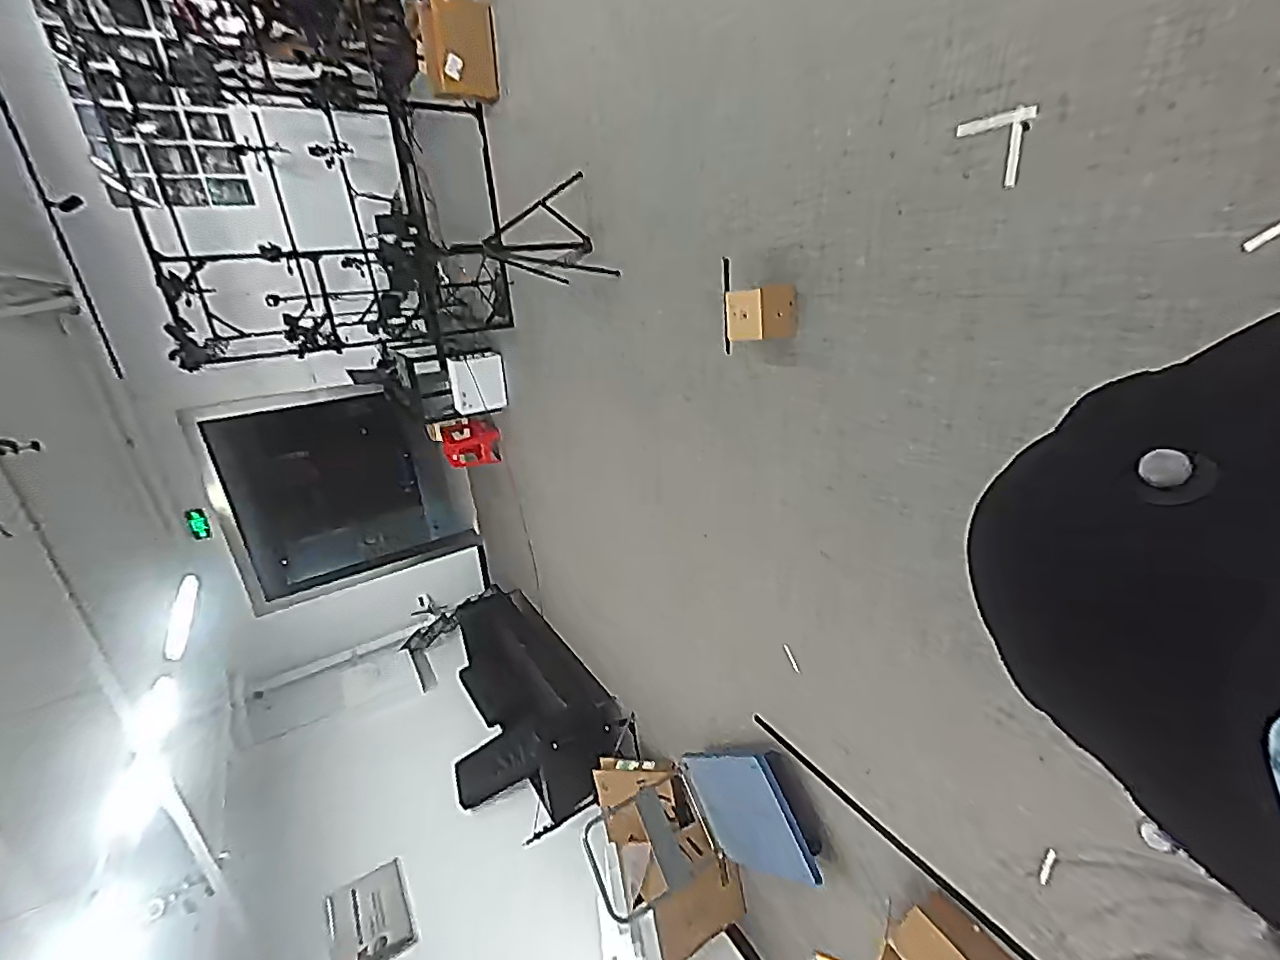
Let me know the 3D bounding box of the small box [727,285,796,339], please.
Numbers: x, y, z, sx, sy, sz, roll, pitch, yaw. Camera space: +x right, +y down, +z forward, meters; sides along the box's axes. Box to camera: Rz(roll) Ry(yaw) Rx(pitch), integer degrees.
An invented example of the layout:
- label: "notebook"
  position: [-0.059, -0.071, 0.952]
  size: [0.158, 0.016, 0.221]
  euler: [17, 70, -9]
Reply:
- label: "small box"
  position: [0.430, -0.590, 1.898]
  size: [0.179, 0.176, 0.168]
  euler: [23, 124, 55]
